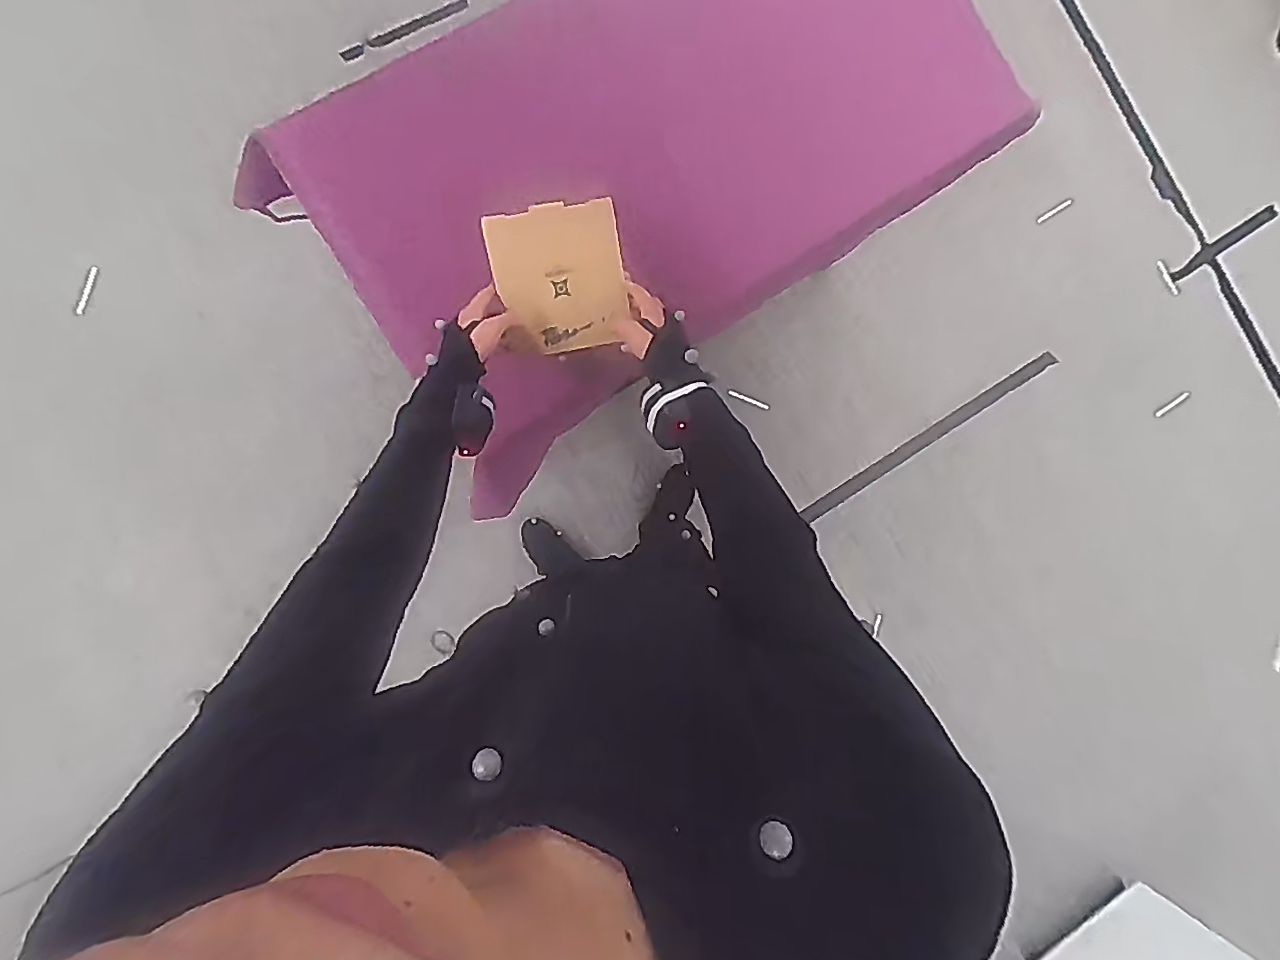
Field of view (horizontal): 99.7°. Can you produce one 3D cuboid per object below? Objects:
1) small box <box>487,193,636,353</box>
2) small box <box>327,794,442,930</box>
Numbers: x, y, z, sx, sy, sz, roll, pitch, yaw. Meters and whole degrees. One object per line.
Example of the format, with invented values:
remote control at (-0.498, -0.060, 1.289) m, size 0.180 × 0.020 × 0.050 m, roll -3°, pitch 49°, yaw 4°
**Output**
small box at (-0.105, -0.281, 0.765) m, size 0.168 × 0.176 × 0.179 m, roll -10°, pitch 107°, yaw -2°
small box at (-0.615, 0.927, 1.329) m, size 0.168 × 0.176 × 0.179 m, roll -30°, pitch 95°, yaw -6°
